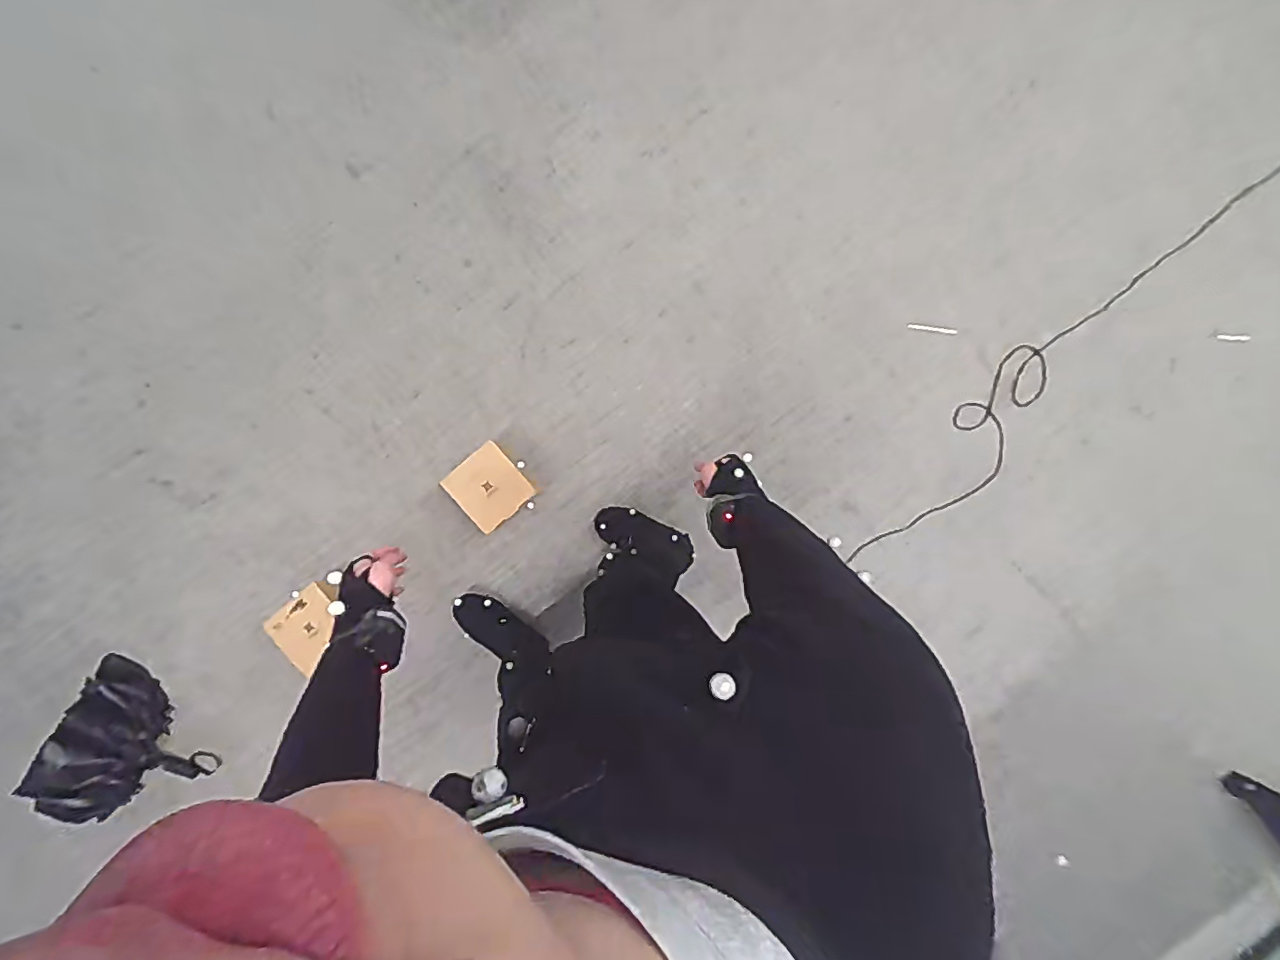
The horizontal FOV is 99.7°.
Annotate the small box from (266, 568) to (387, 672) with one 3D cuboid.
[{"bbox_3d":[-0.795,0.351,1.392,0.168,0.176,0.179,-39,93,-1],"label":"small box"}]

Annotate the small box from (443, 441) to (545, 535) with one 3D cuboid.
[{"bbox_3d":[-0.368,0.017,1.399,0.168,0.176,0.179,-41,91,-2],"label":"small box"}]
